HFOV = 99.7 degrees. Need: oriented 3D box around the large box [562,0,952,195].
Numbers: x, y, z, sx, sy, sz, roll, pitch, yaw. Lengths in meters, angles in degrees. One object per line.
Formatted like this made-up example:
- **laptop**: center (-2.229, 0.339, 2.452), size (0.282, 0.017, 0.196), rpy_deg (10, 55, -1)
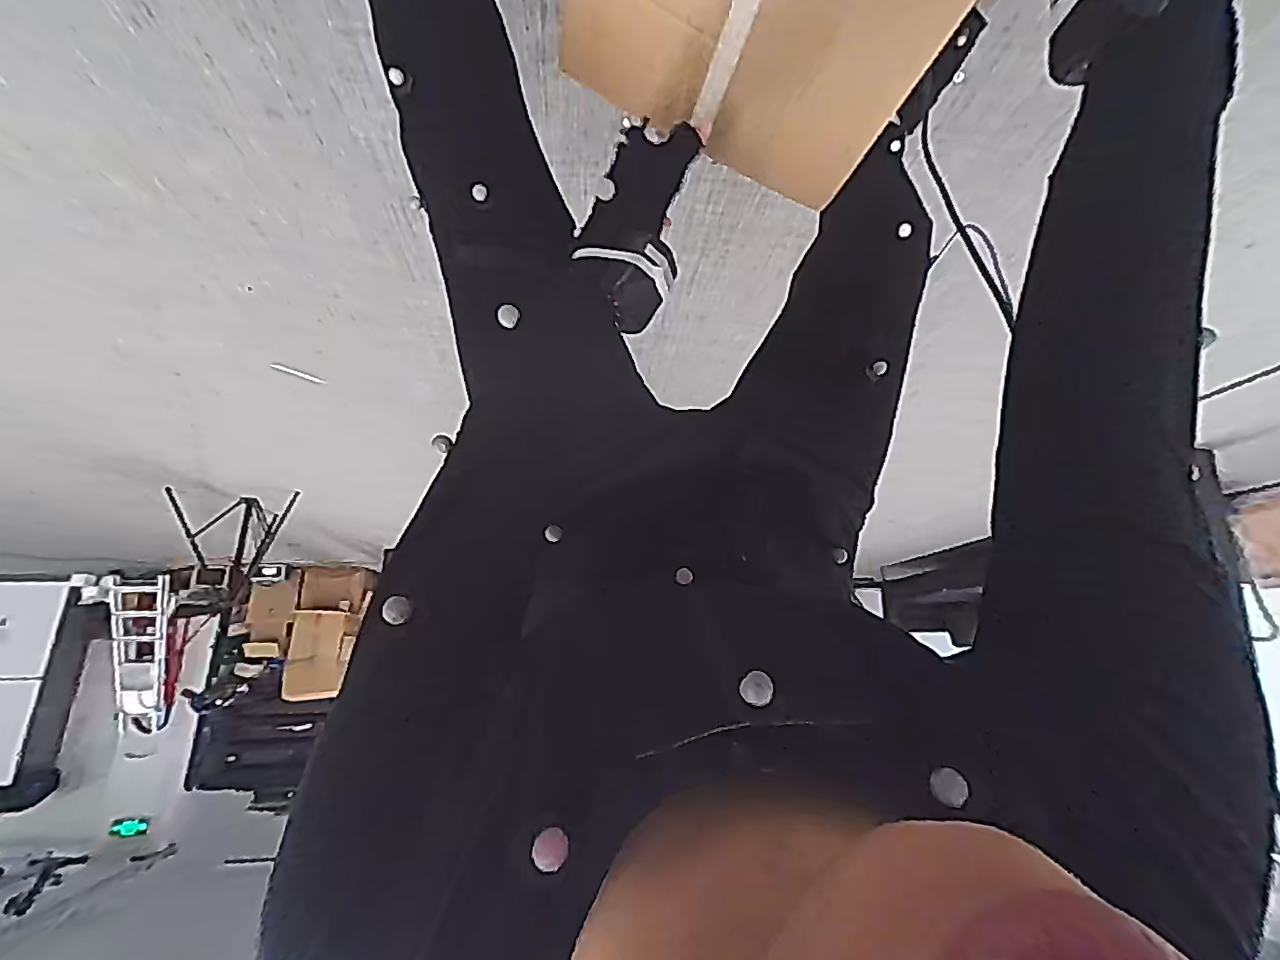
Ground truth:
- **large box**: center (0.156, -0.555, 0.442), size (0.320, 0.320, 0.408), rpy_deg (26, 157, -5)
